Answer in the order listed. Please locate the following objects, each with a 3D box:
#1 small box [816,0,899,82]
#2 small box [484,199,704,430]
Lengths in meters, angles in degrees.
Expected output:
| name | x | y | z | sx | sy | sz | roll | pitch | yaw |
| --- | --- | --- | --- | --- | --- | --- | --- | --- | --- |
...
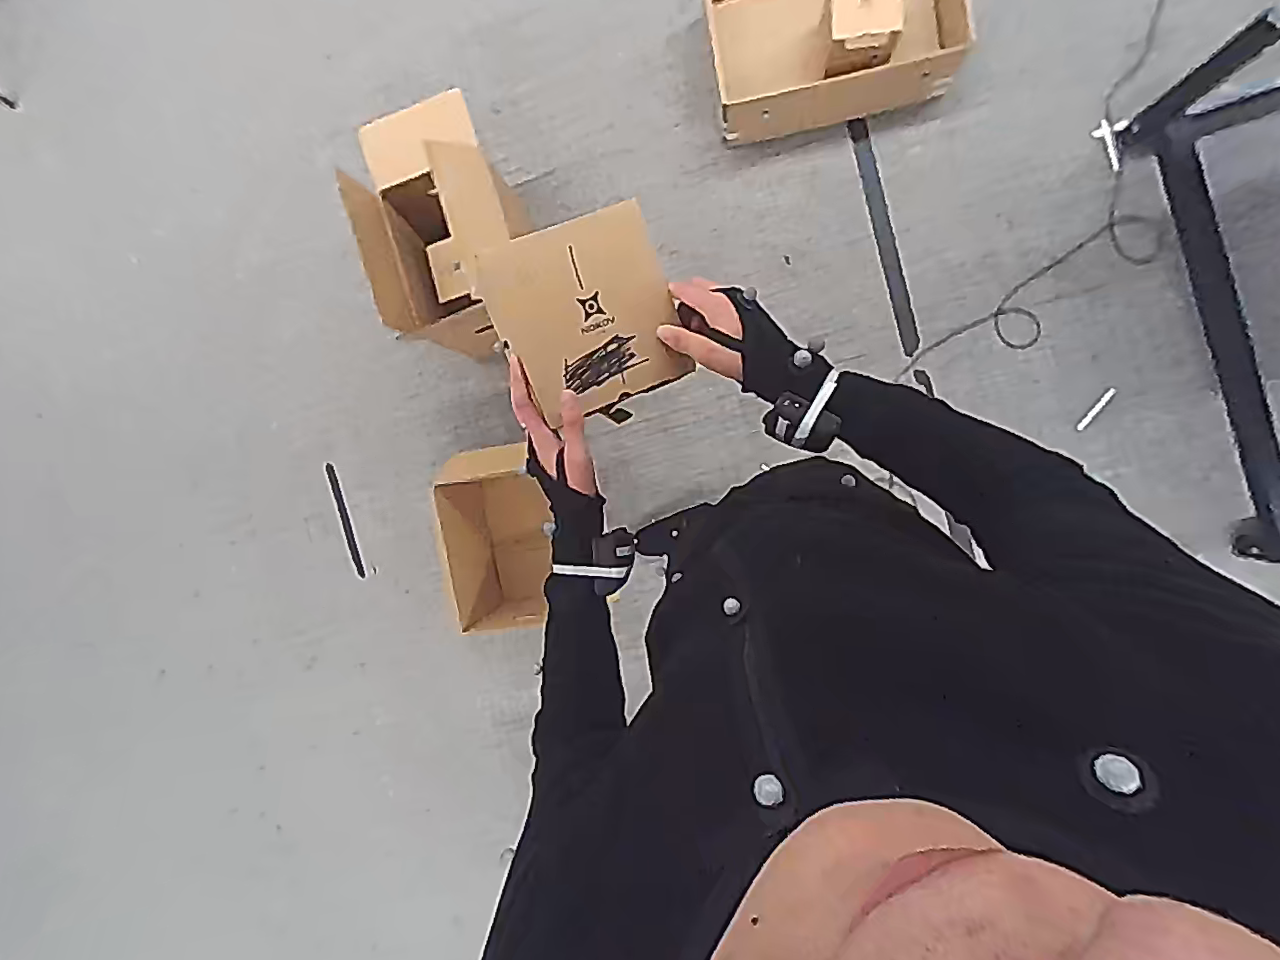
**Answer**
| name | x | y | z | sx | sy | sz | roll | pitch | yaw |
| --- | --- | --- | --- | --- | --- | --- | --- | --- | --- |
| small box | 0.553 | -1.161 | 1.387 | 0.168 | 0.176 | 0.179 | -2 | 92 | 8 |
| small box | -0.057 | -0.168 | 0.587 | 0.168 | 0.176 | 0.179 | -24 | 103 | -12 |
